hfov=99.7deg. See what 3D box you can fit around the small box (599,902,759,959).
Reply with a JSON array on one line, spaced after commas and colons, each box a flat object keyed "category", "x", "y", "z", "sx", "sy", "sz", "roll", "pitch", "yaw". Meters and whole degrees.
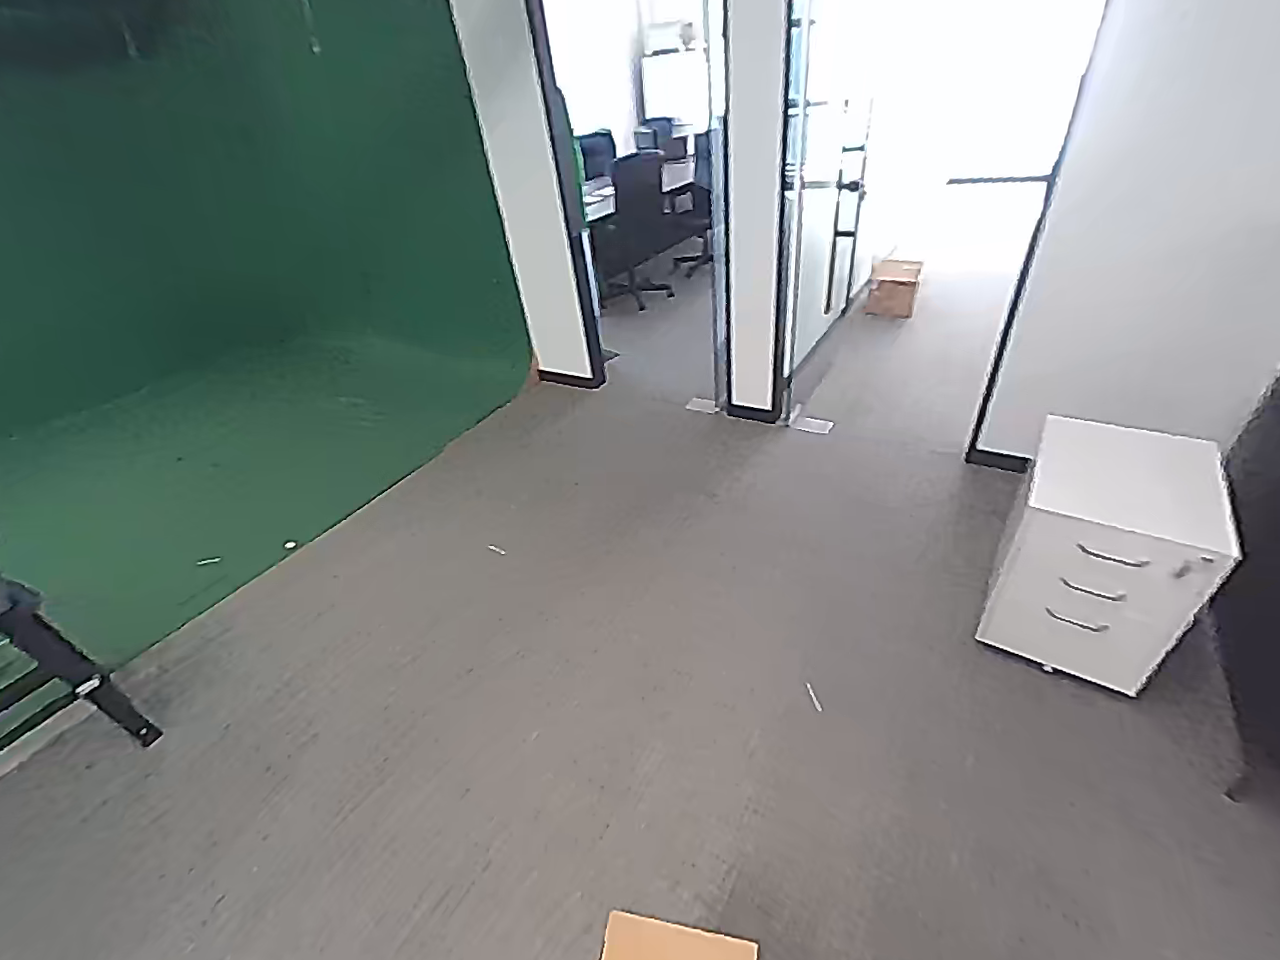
[{"category": "small box", "x": 0.039, "y": 0.620, "z": 0.607, "sx": 0.179, "sy": 0.176, "sz": 0.168, "roll": 4, "pitch": 35, "yaw": 11}]
